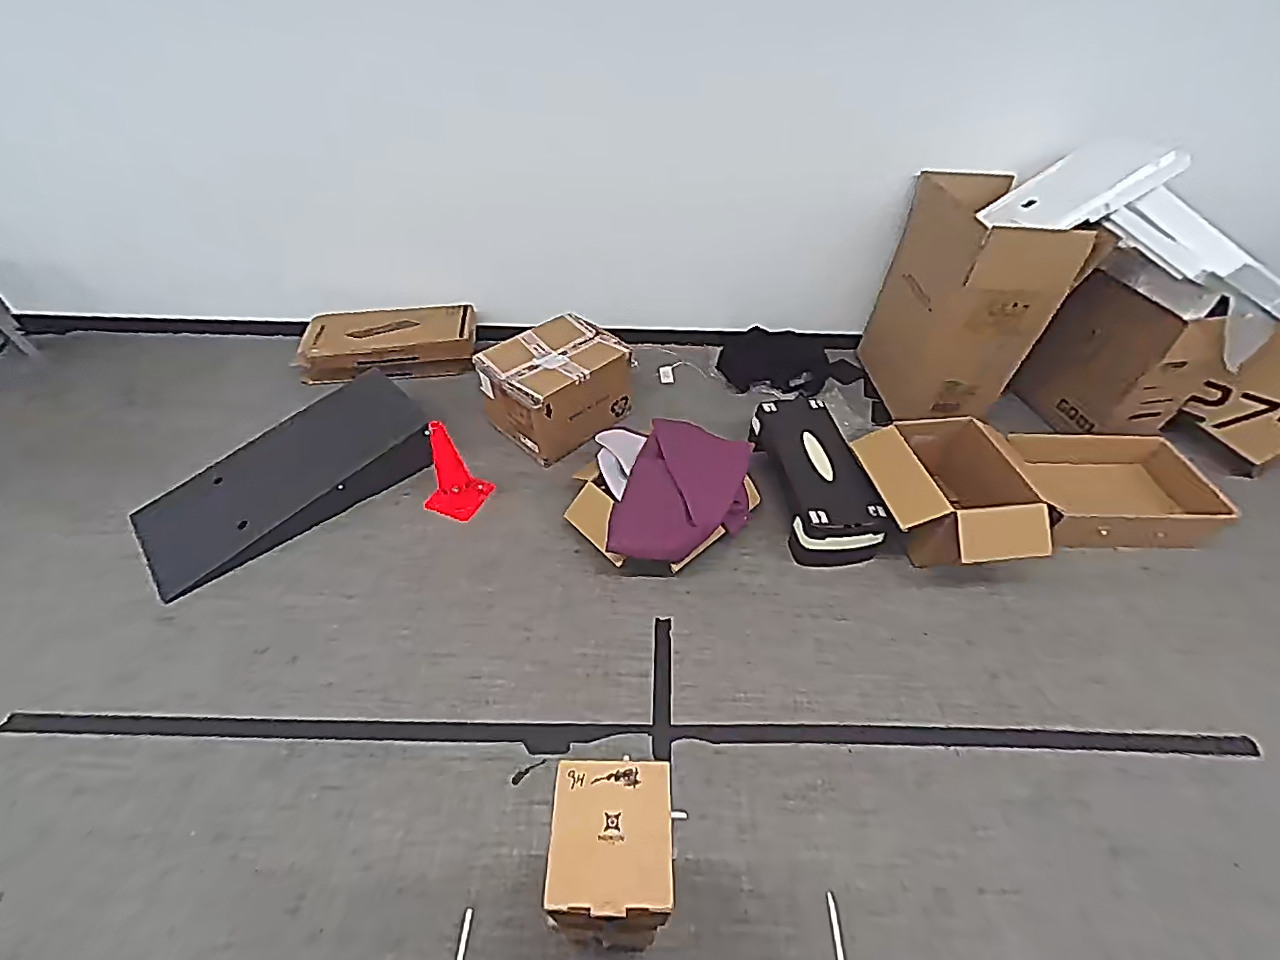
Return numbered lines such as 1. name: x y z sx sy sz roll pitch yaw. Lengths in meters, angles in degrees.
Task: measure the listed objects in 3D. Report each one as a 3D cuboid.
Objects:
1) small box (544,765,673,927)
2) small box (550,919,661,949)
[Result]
1. small box: -0.037 0.534 0.788 0.168 0.176 0.179 1 47 0
2. small box: -0.046 0.654 0.900 0.168 0.176 0.179 4 47 3
